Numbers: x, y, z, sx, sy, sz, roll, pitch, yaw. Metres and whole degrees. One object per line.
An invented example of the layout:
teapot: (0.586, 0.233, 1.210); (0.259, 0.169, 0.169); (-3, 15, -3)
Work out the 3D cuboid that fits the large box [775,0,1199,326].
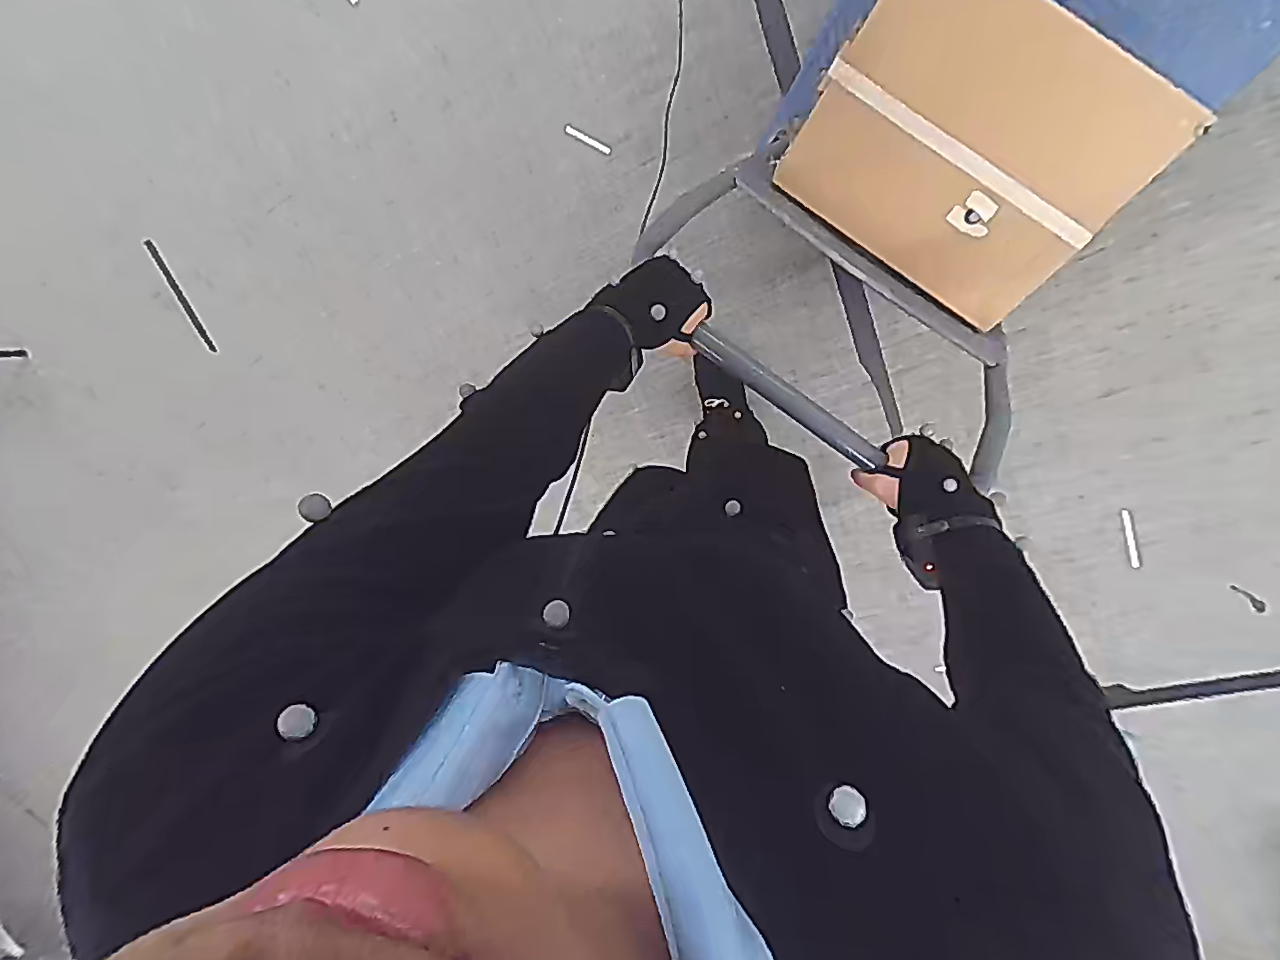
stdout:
large box: (0.488, -0.521, 0.846); (0.408, 0.320, 0.320); (35, 133, 0)
